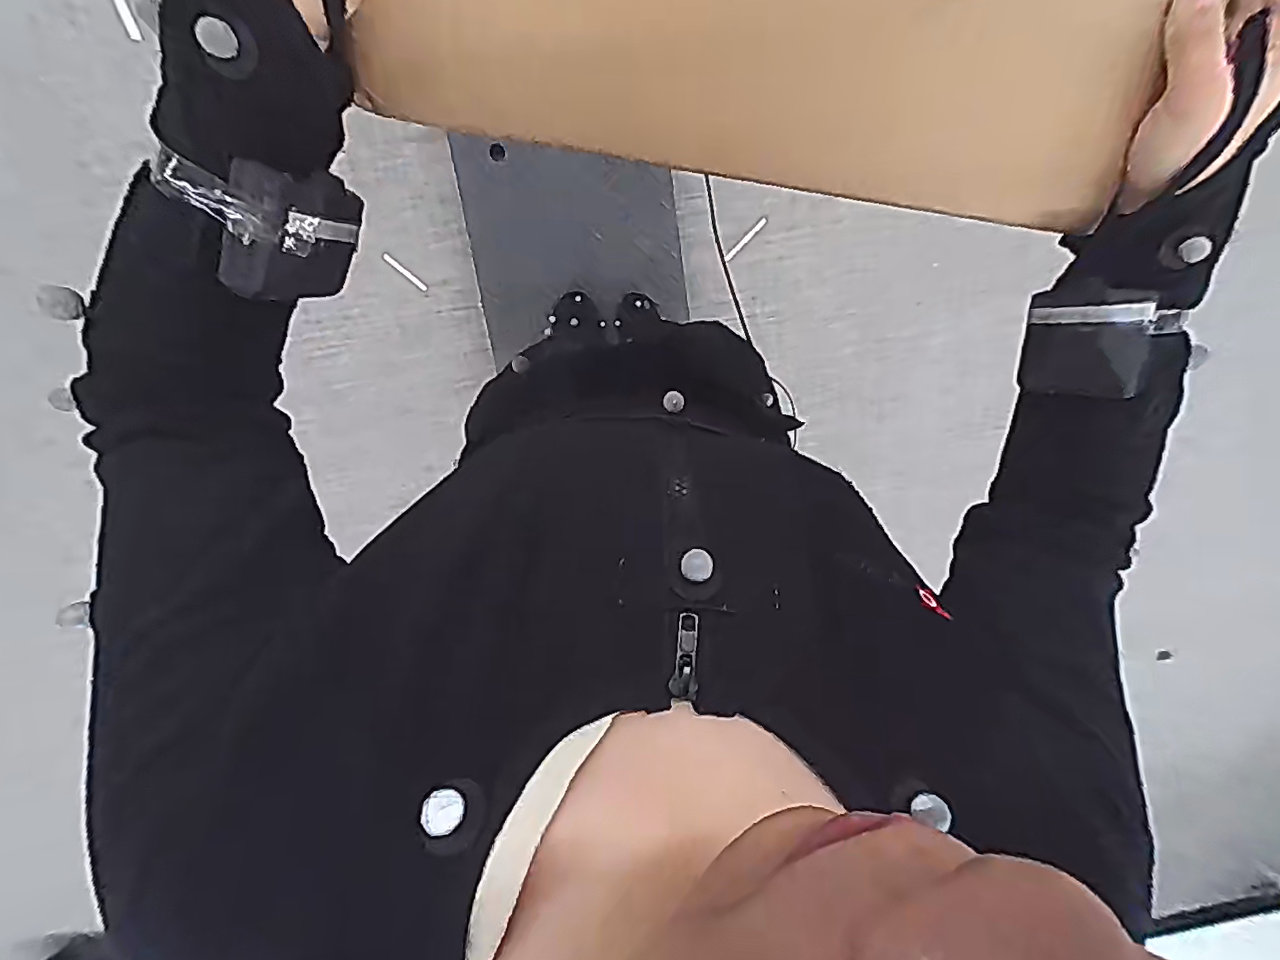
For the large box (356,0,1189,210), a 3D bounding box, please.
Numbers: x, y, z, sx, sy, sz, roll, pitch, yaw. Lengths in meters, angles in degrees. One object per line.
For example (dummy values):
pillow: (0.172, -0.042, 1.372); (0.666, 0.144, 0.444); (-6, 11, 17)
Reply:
large box: (0.069, -0.381, 0.330); (0.408, 0.320, 0.320); (5, 125, -8)
